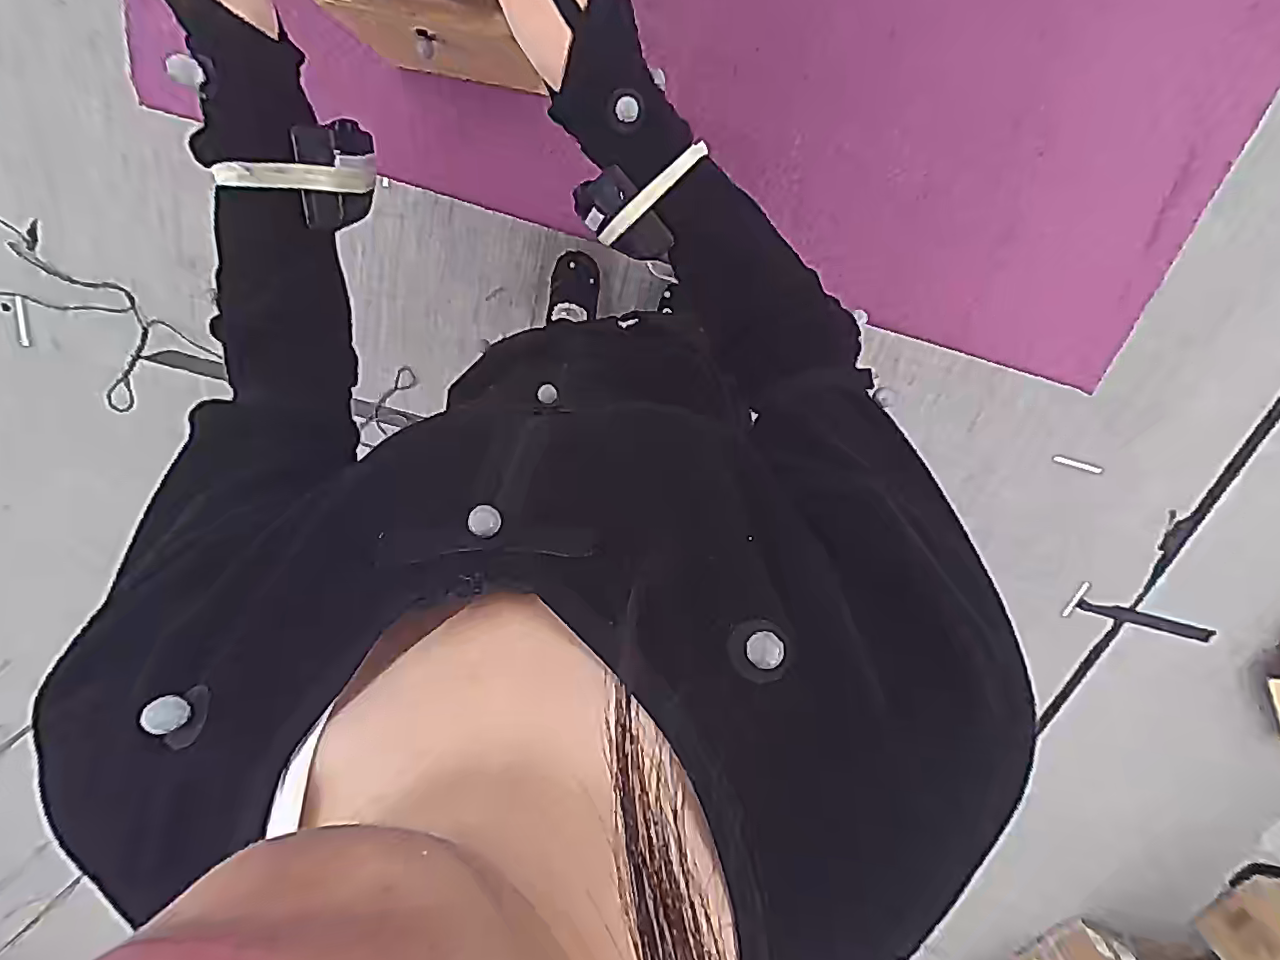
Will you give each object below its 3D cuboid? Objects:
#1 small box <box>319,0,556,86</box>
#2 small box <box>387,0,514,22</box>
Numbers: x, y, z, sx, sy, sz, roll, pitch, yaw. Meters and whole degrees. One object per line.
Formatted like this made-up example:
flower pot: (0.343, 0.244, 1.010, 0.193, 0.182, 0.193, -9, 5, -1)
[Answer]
small box: (-0.167, -0.480, 0.482, 0.179, 0.176, 0.168, 9, 113, -4)
small box: (-0.160, -0.418, 0.314, 0.168, 0.176, 0.179, 5, 112, -8)
